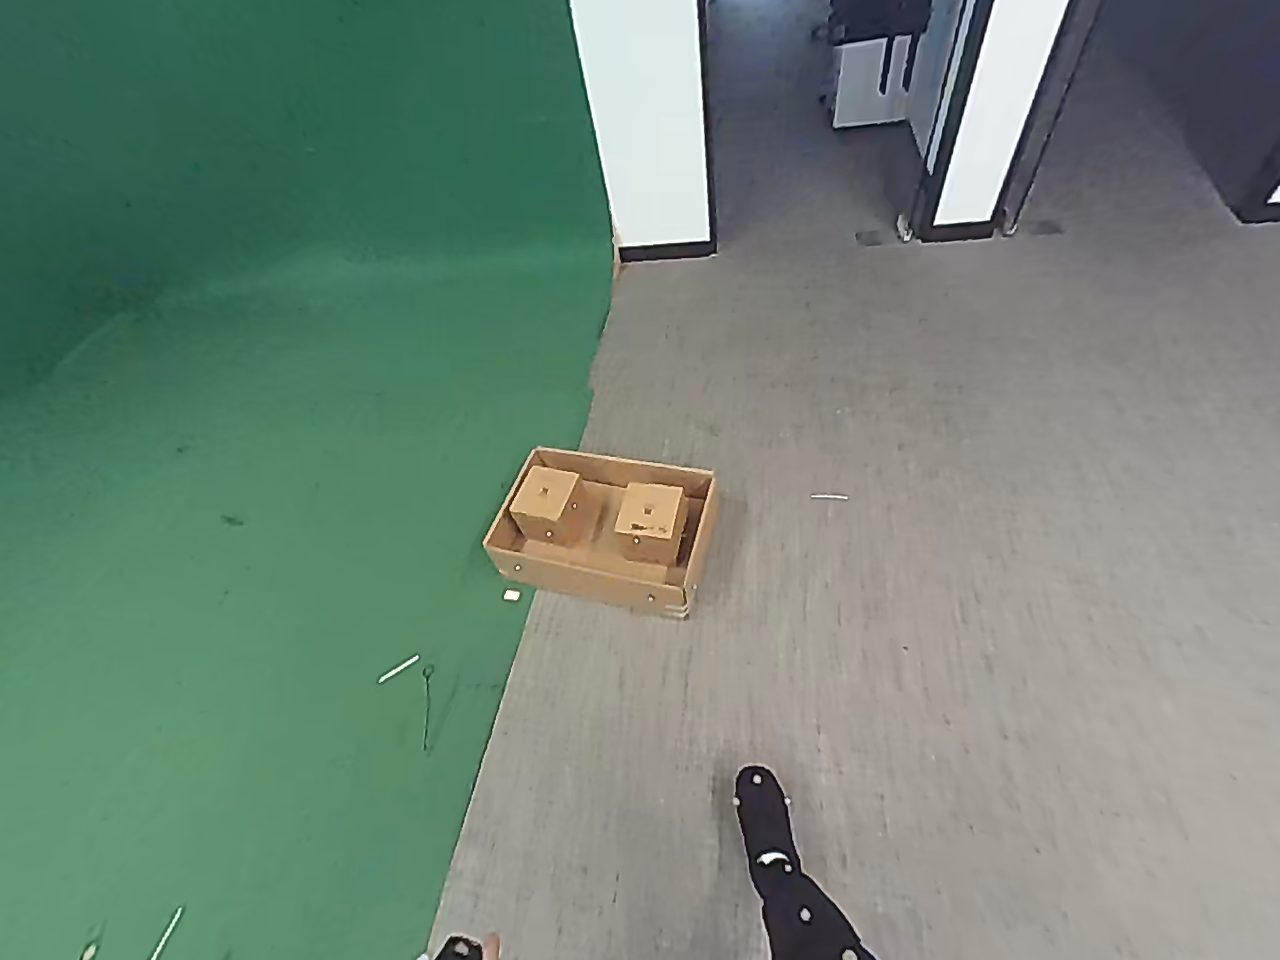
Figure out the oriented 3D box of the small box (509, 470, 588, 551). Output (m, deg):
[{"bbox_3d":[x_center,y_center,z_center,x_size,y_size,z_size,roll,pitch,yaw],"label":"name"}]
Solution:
[{"bbox_3d":[-0.276,0.098,1.683,0.168,0.176,0.179,11,56,17],"label":"small box"}]
